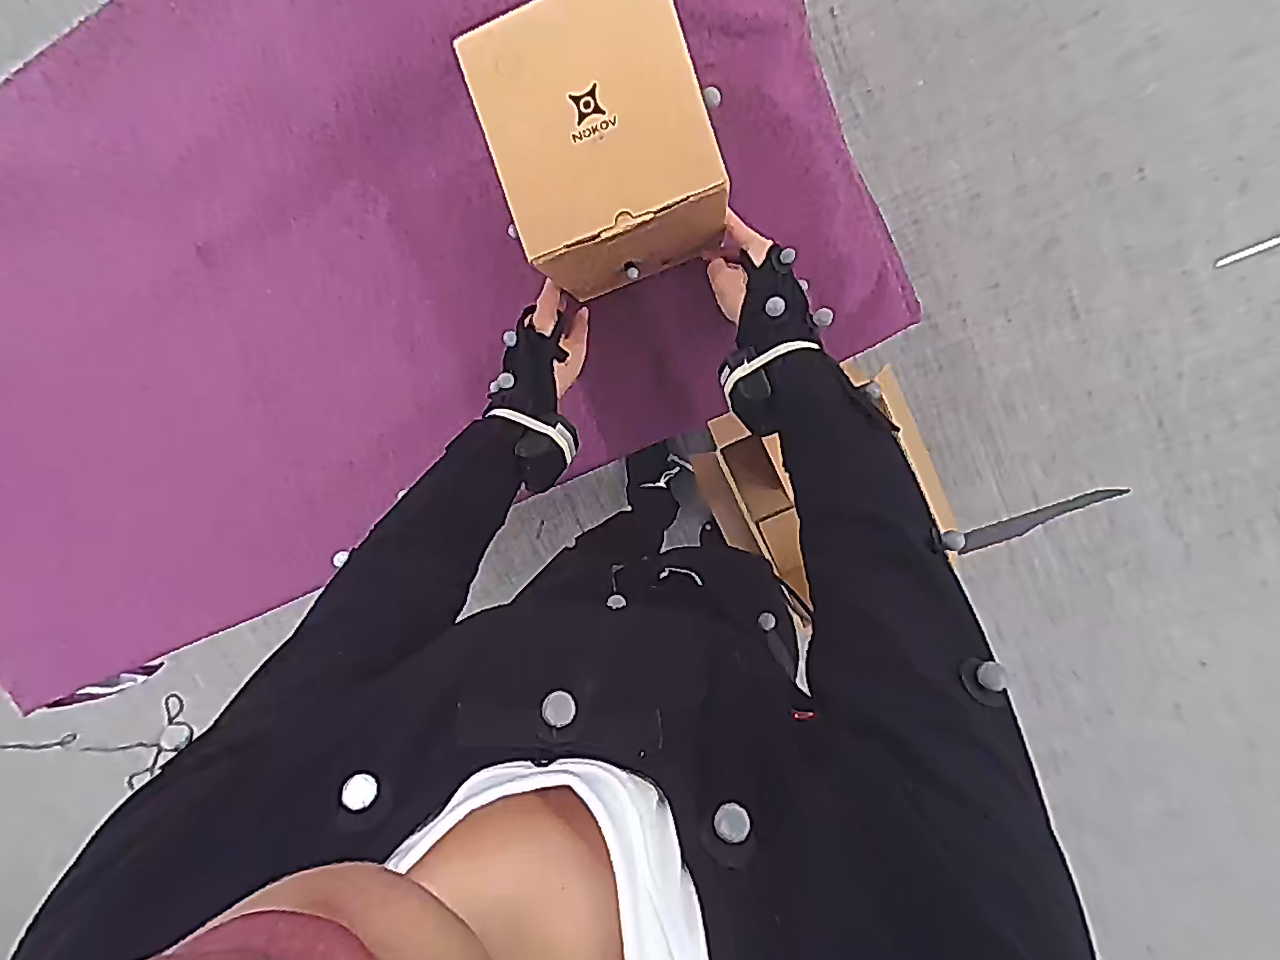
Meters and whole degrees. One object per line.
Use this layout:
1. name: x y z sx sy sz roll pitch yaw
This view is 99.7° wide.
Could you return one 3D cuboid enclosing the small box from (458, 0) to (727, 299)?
1. small box: -0.028 -0.286 0.486 0.168 0.176 0.179 -18 96 10
